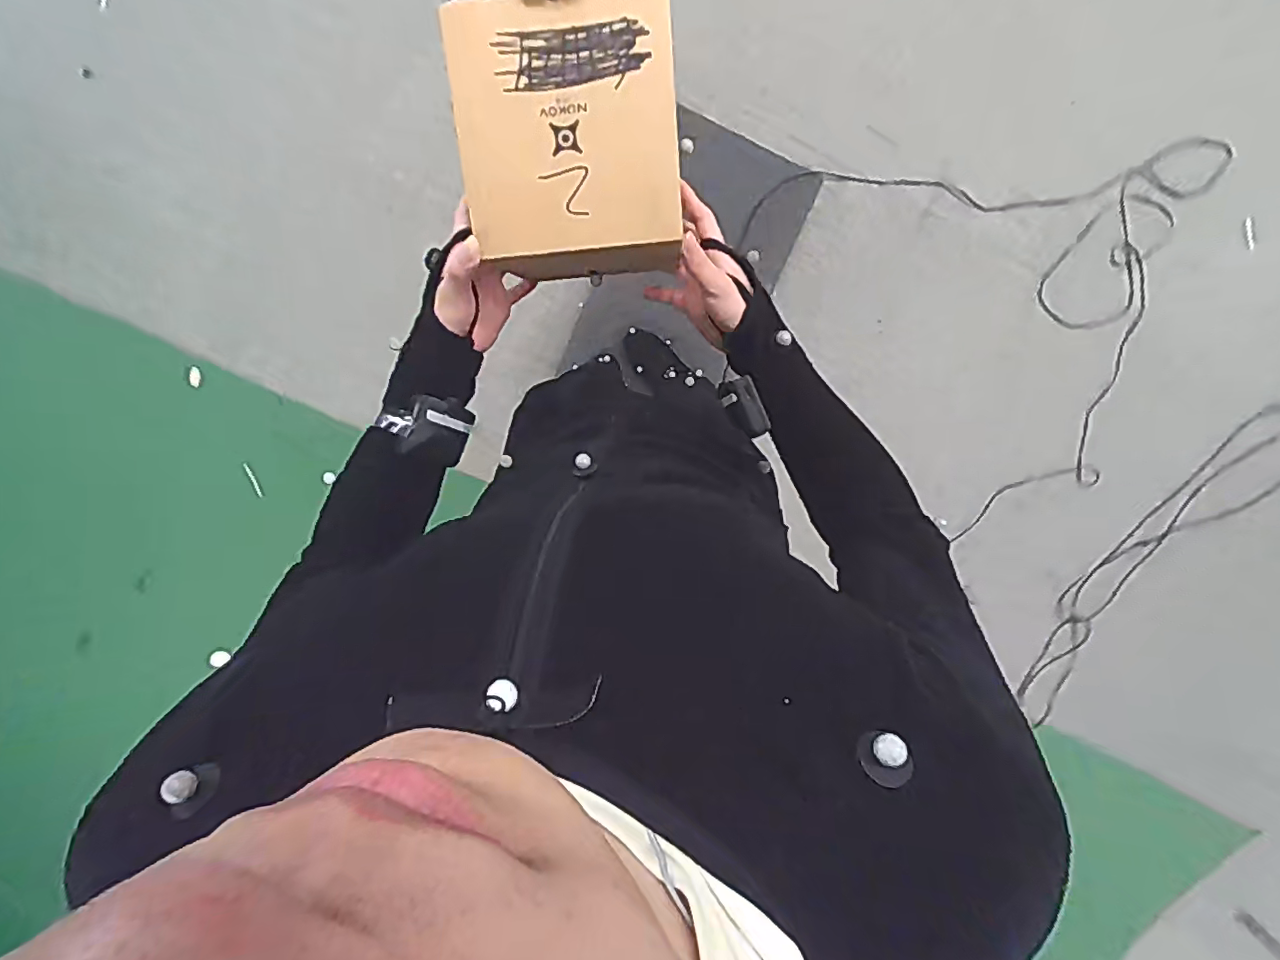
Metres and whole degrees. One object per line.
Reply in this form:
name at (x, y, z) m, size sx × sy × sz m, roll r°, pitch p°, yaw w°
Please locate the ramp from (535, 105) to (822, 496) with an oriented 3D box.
ramp at (0.101, -0.493, 1.561) m, size 0.509 × 0.206 × 0.991 m, roll 21°, pitch 107°, yaw -4°
